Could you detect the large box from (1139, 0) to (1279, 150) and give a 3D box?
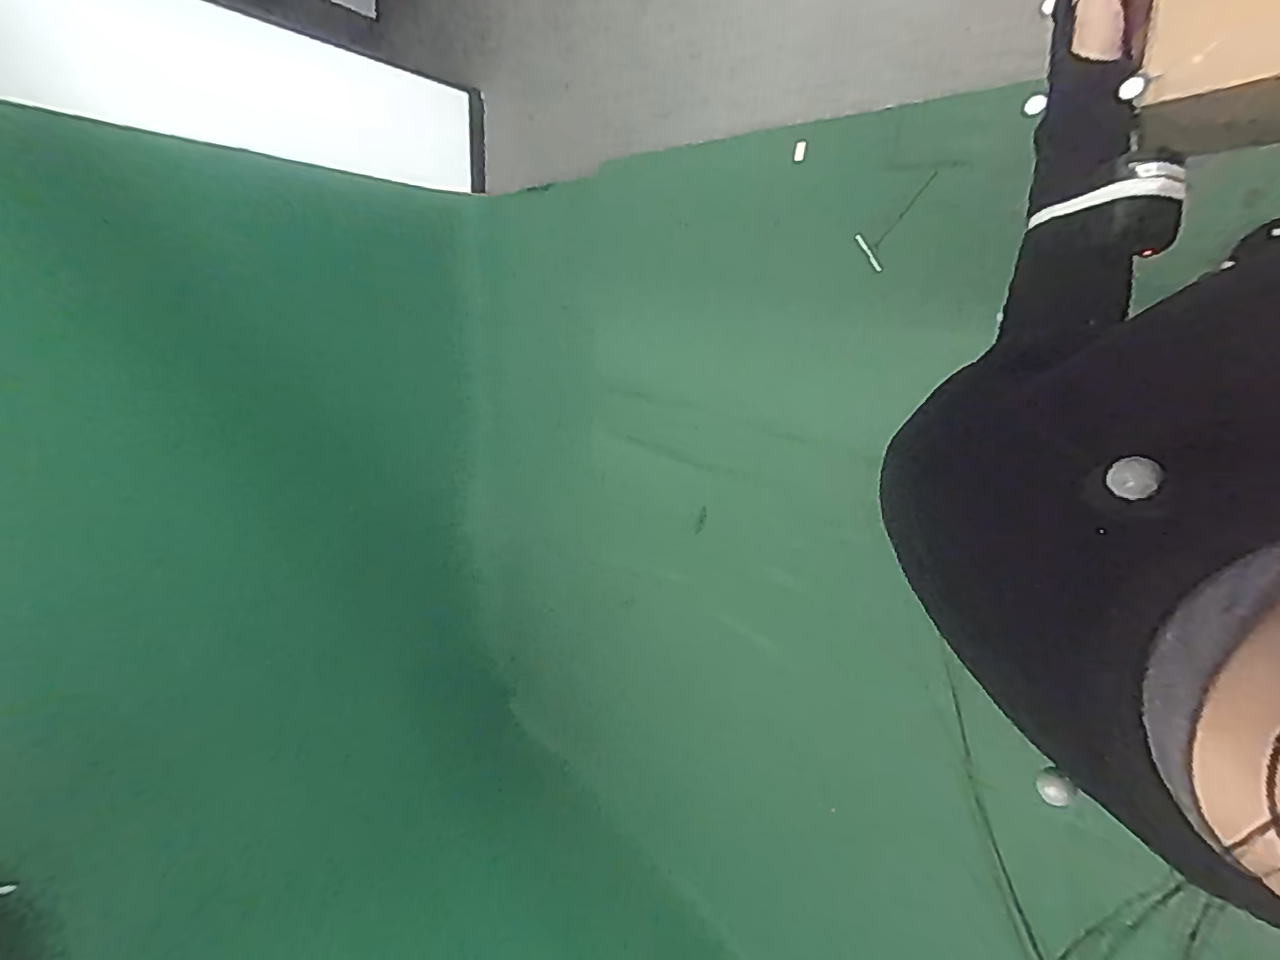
[{"bbox_3d":[0.581,-0.424,0.302,0.408,0.320,0.320,11,113,42],"label":"large box"}]
